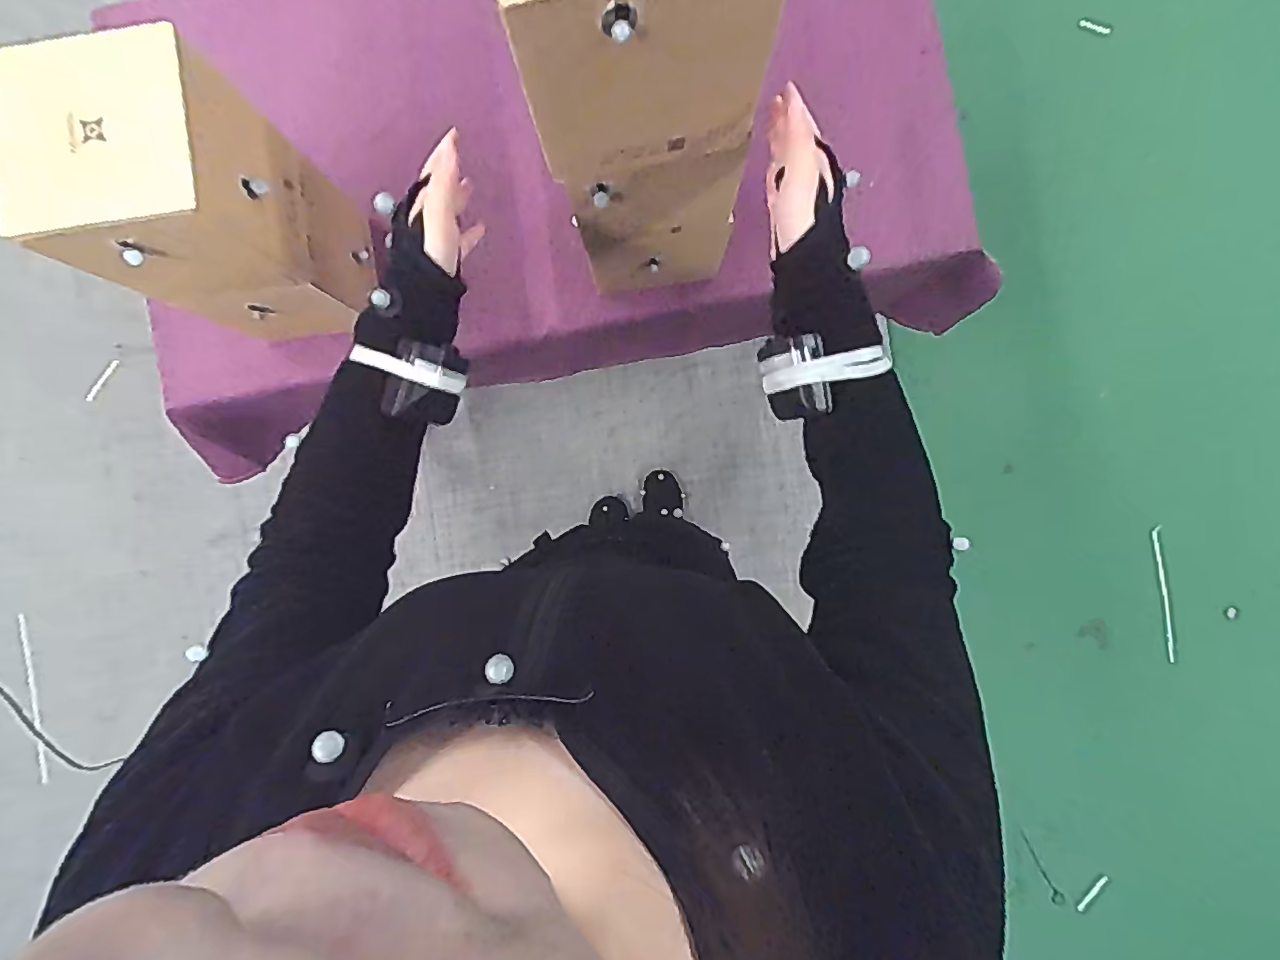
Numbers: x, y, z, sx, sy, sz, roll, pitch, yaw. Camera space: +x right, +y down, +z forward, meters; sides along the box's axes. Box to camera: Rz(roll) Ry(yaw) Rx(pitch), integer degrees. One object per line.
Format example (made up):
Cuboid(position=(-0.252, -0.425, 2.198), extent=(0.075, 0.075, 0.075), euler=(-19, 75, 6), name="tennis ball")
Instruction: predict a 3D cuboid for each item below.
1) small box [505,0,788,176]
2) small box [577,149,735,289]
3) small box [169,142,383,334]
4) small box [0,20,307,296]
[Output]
Cuboid(position=(-0.007, -0.349, 0.367), extent=(0.168, 0.176, 0.179), euler=(-11, 88, 2), name="small box")
Cuboid(position=(0.015, -0.364, 0.697), extent=(0.179, 0.176, 0.168), euler=(-8, 90, 2), name="small box")
Cuboid(position=(-0.467, -0.299, 0.704), extent=(0.179, 0.176, 0.168), euler=(-7, 90, 1), name="small box")
Cuboid(position=(-0.465, -0.300, 0.541), extent=(0.179, 0.176, 0.168), euler=(-8, 90, 2), name="small box")
